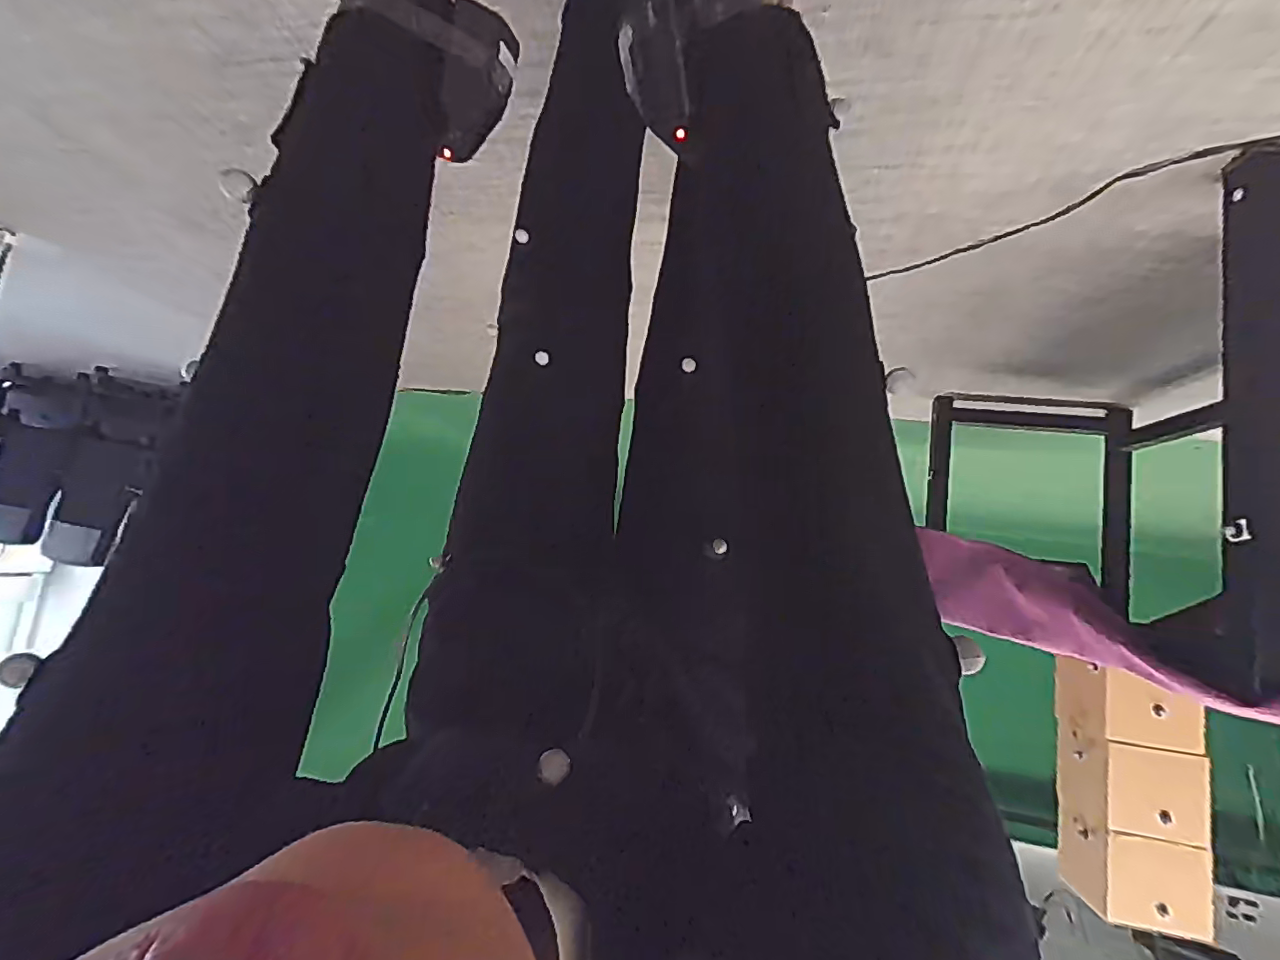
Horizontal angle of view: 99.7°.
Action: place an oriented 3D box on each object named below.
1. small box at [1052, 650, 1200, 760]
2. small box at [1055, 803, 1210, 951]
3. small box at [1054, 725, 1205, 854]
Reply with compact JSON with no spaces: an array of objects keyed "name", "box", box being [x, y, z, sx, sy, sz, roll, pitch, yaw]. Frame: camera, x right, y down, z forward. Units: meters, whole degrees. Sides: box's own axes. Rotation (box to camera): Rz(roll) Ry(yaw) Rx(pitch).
[{"name":"small box","box":[1.012,0.461,1.140,0.179,0.176,0.168,6,172,9]},{"name":"small box","box":[0.982,0.784,1.090,0.179,0.176,0.168,6,171,10]},{"name":"small box","box":[0.998,0.623,1.114,0.179,0.176,0.168,7,171,10]}]
